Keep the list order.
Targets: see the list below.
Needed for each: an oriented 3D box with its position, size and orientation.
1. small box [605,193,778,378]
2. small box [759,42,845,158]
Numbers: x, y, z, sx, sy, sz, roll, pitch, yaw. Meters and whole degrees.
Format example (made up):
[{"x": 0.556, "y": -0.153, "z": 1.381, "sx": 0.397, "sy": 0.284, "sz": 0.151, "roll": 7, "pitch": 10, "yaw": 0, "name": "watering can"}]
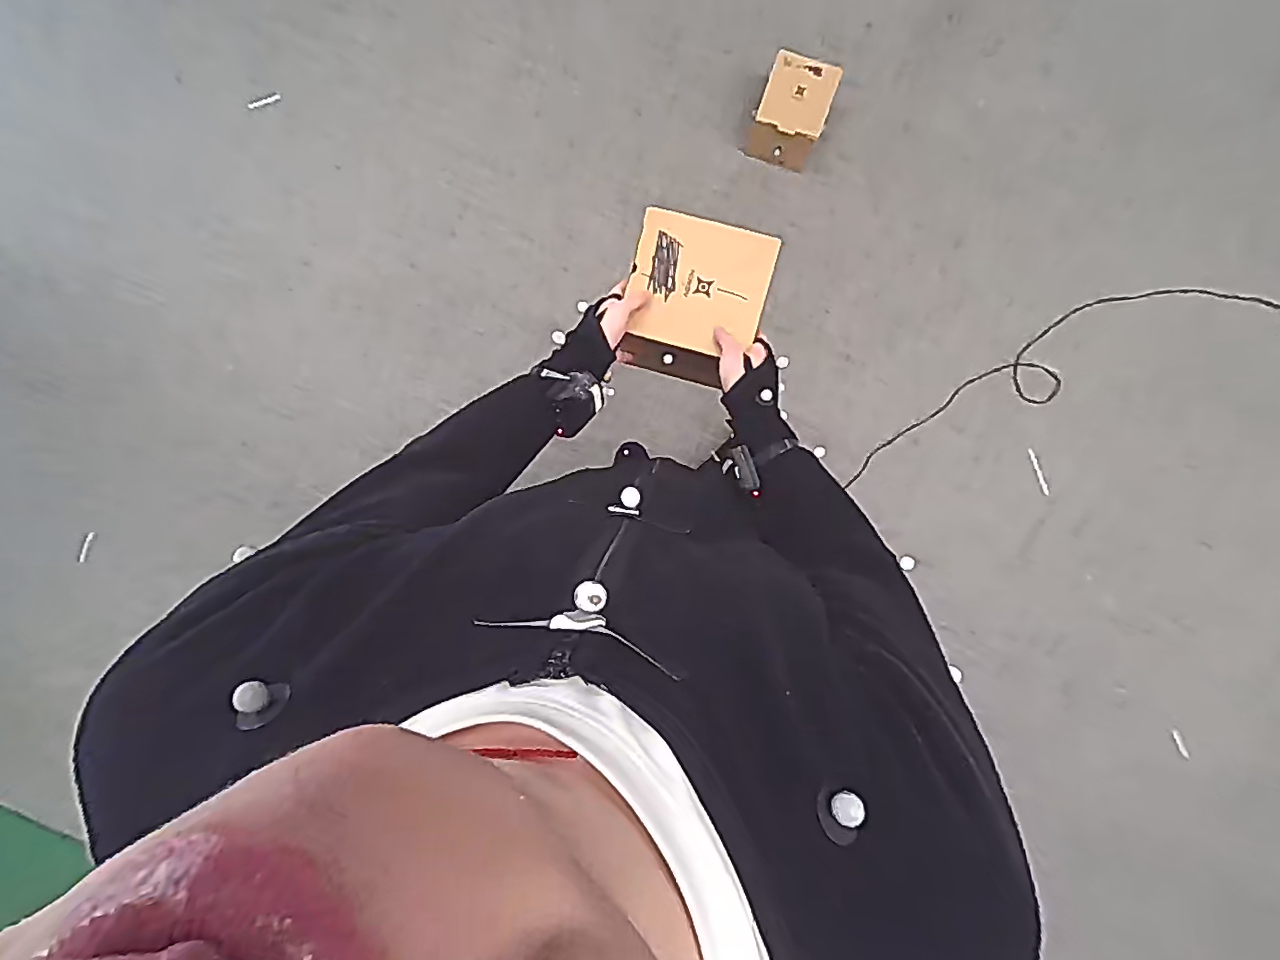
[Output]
[{"x": 0.068, "y": -0.255, "z": 0.753, "sx": 0.179, "sy": 0.176, "sz": 0.168, "roll": 20, "pitch": 91, "yaw": 4, "name": "small box"}, {"x": 0.407, "y": -0.964, "z": 1.389, "sx": 0.179, "sy": 0.176, "sz": 0.168, "roll": -10, "pitch": 91, "yaw": 5, "name": "small box"}]
